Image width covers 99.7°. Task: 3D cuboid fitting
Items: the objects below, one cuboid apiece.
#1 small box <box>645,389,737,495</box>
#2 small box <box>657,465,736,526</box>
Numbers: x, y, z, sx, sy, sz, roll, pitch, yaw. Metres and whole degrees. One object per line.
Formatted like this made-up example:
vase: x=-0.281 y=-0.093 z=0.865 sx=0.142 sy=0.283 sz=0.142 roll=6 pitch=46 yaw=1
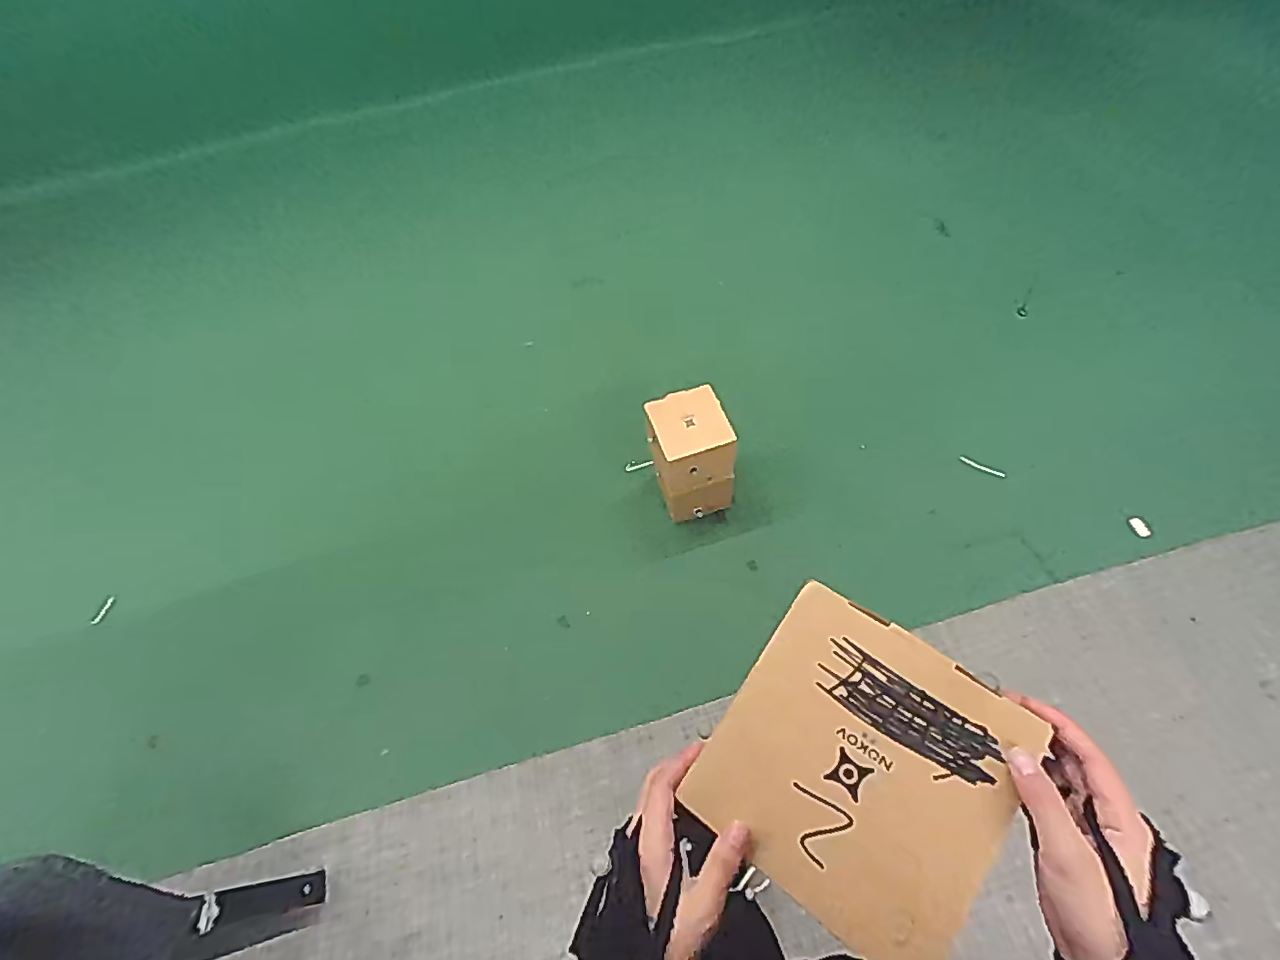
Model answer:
small box: x=0.122 y=-0.082 z=1.294 sx=0.168 sy=0.176 sz=0.179 roll=-18 pitch=59 yaw=-5
small box: x=0.143 y=-0.005 z=1.437 sx=0.168 sy=0.176 sz=0.179 roll=-17 pitch=60 yaw=-4
